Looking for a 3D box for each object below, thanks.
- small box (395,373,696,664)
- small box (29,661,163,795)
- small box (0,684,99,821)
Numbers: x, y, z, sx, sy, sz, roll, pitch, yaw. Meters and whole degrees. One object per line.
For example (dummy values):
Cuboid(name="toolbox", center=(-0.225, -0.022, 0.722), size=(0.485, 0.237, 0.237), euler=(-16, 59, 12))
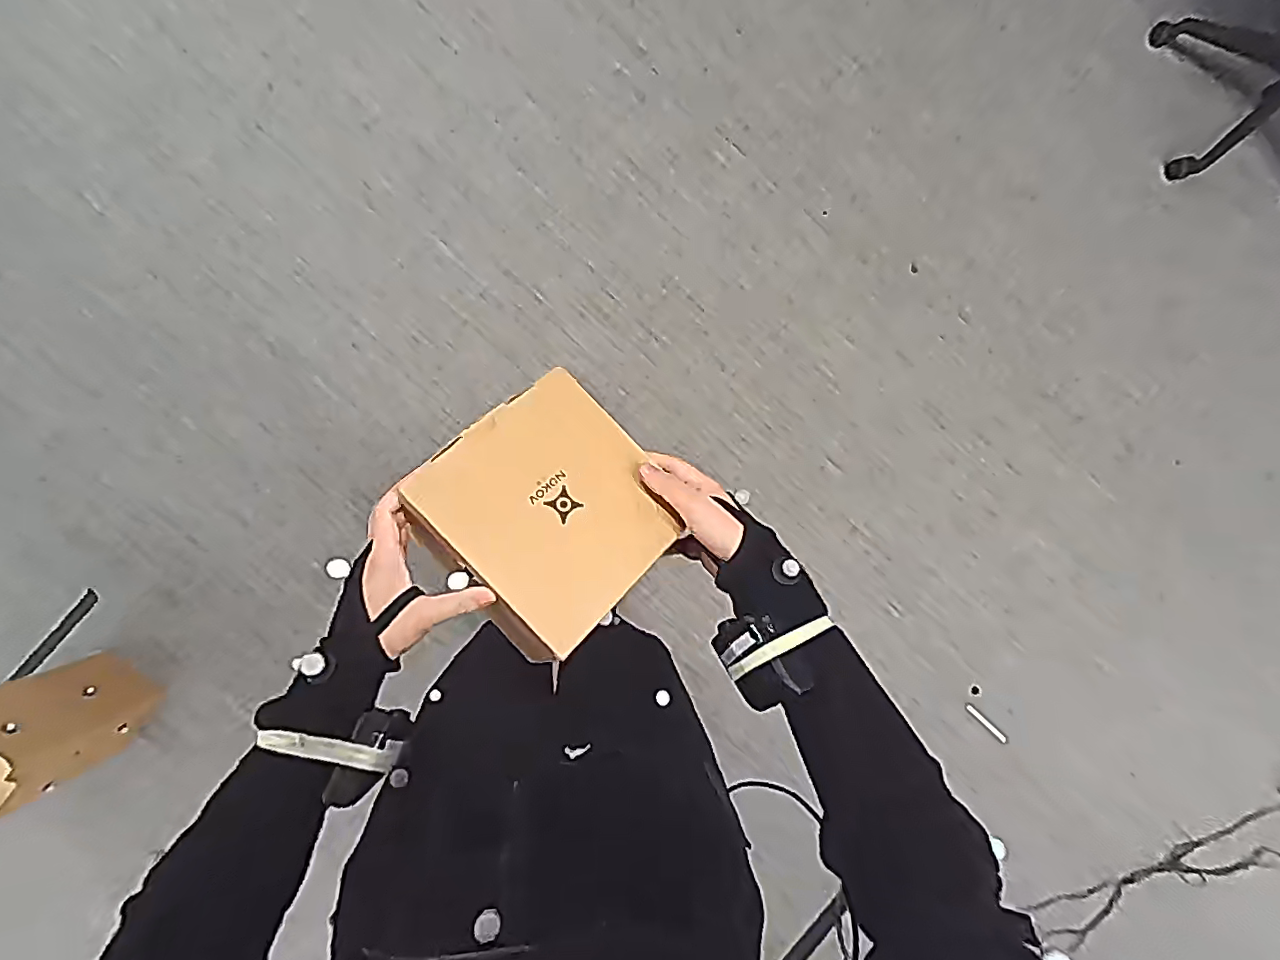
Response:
Cuboid(name="small box", center=(-0.086, 0.045, 0.491), size=(0.179, 0.176, 0.168), euler=(43, 64, 3))
Cuboid(name="small box", center=(-1.199, 0.517, 1.159), size=(0.179, 0.176, 0.168), euler=(37, 86, -2))
Cuboid(name="small box", center=(-1.182, 0.510, 0.995), size=(0.179, 0.176, 0.168), euler=(38, 86, -2))
